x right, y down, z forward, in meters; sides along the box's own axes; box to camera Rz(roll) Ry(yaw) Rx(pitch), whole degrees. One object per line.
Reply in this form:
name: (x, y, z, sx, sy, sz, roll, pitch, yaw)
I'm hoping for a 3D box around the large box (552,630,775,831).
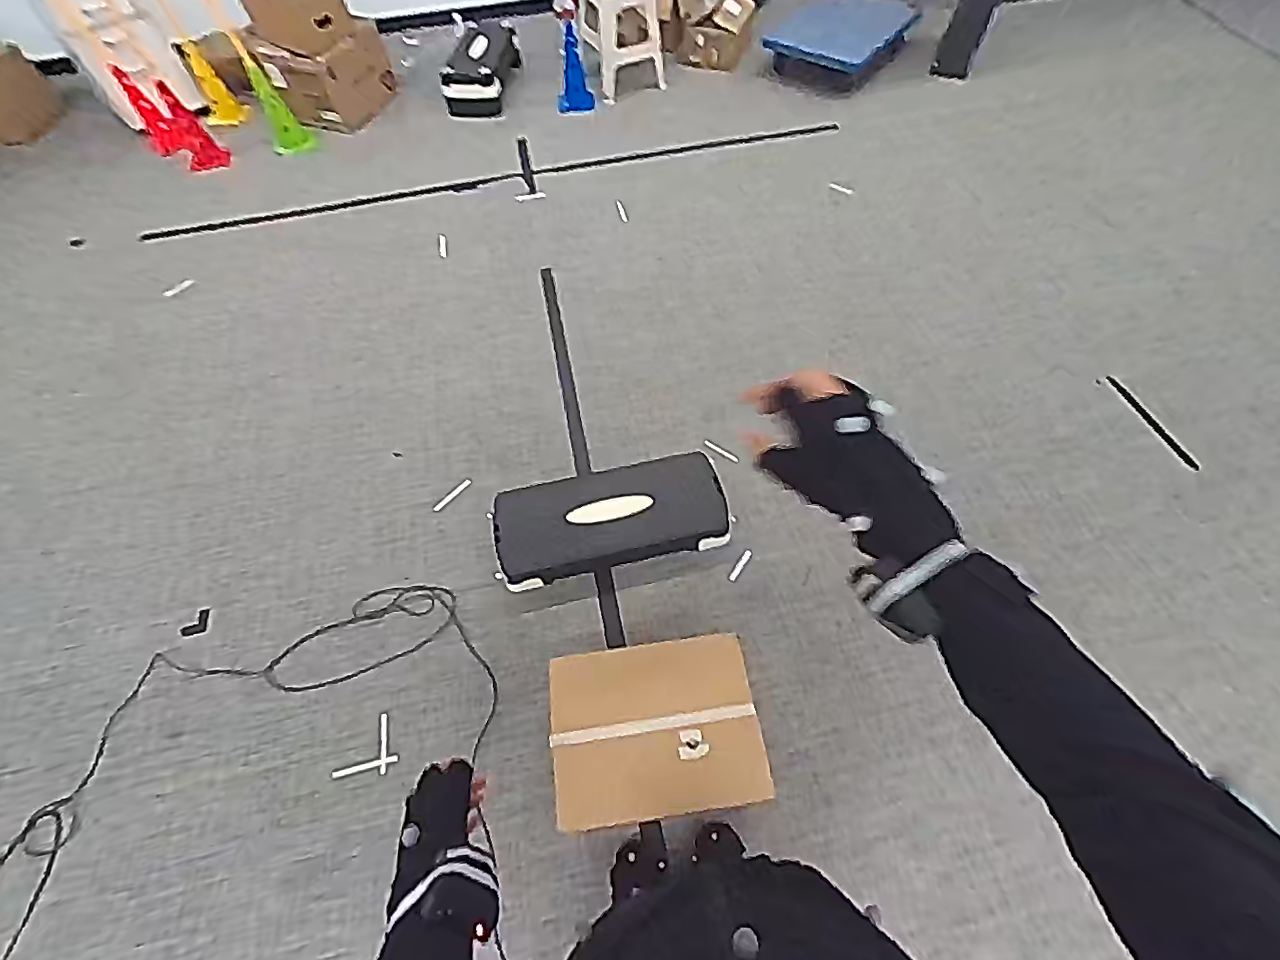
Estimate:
large box: (0.034, 0.555, 1.190, 0.408, 0.320, 0.320, -7, 59, -4)
